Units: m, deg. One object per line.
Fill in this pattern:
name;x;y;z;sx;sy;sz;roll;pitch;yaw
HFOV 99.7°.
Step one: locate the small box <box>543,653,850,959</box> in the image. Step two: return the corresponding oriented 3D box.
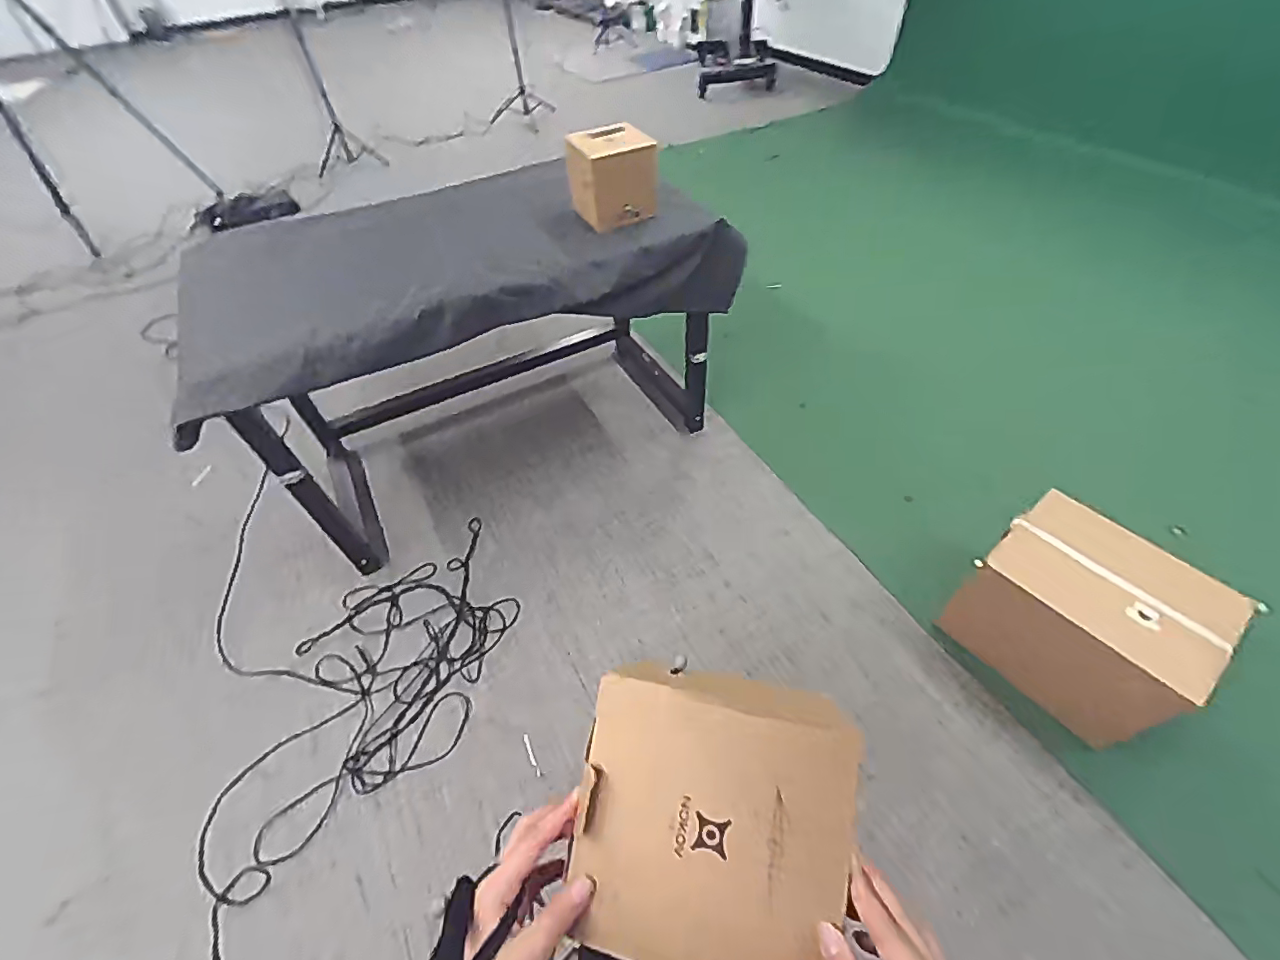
small box;0.050;0.234;0.416;0.179;0.176;0.168;7;78;13
